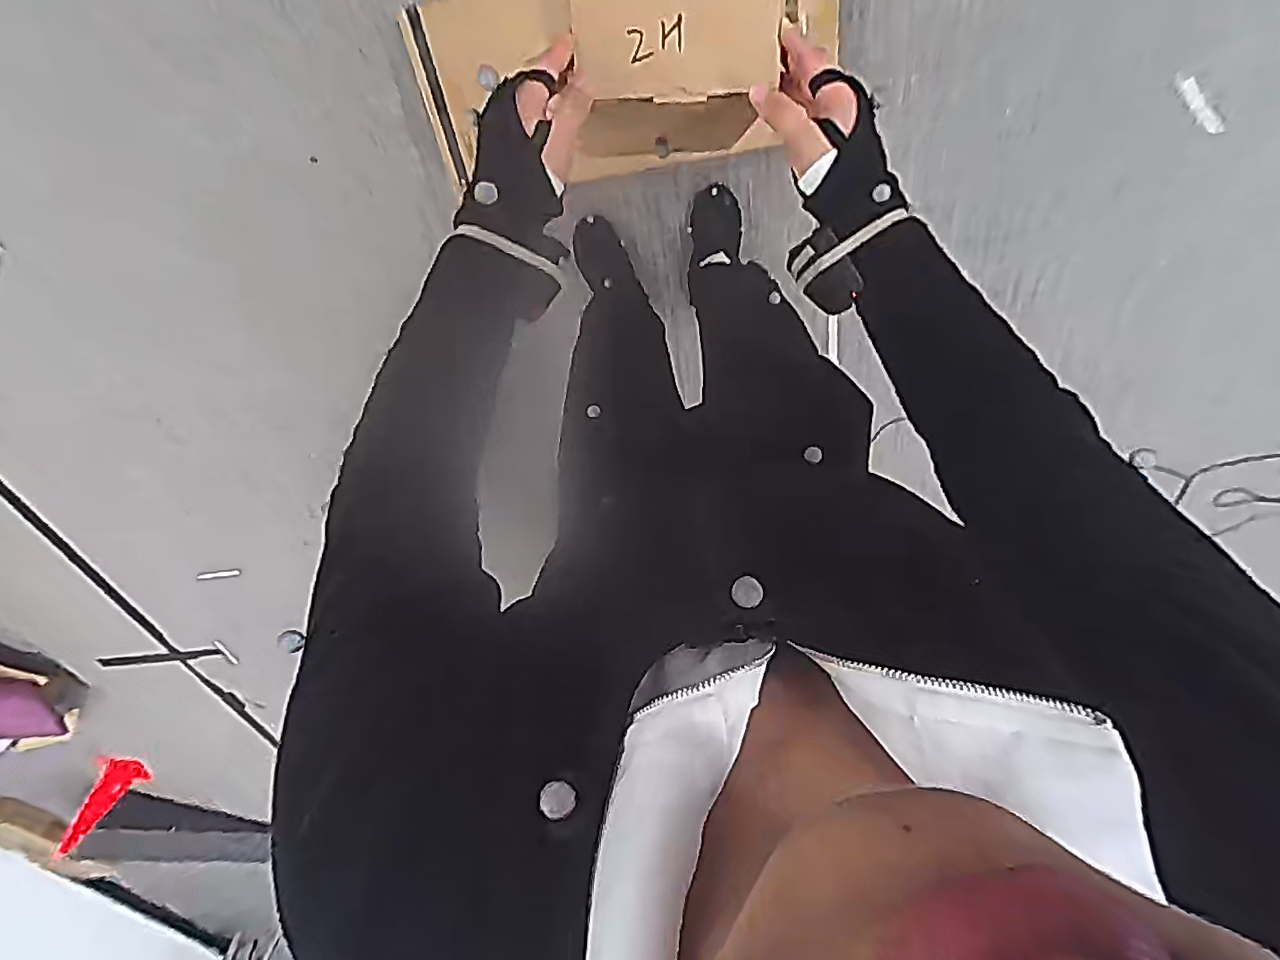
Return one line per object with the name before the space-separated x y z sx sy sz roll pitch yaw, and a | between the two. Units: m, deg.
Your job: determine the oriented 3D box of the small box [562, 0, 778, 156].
small box | 0.016 -0.410 0.477 0.168 0.176 0.179 -5 108 -3
